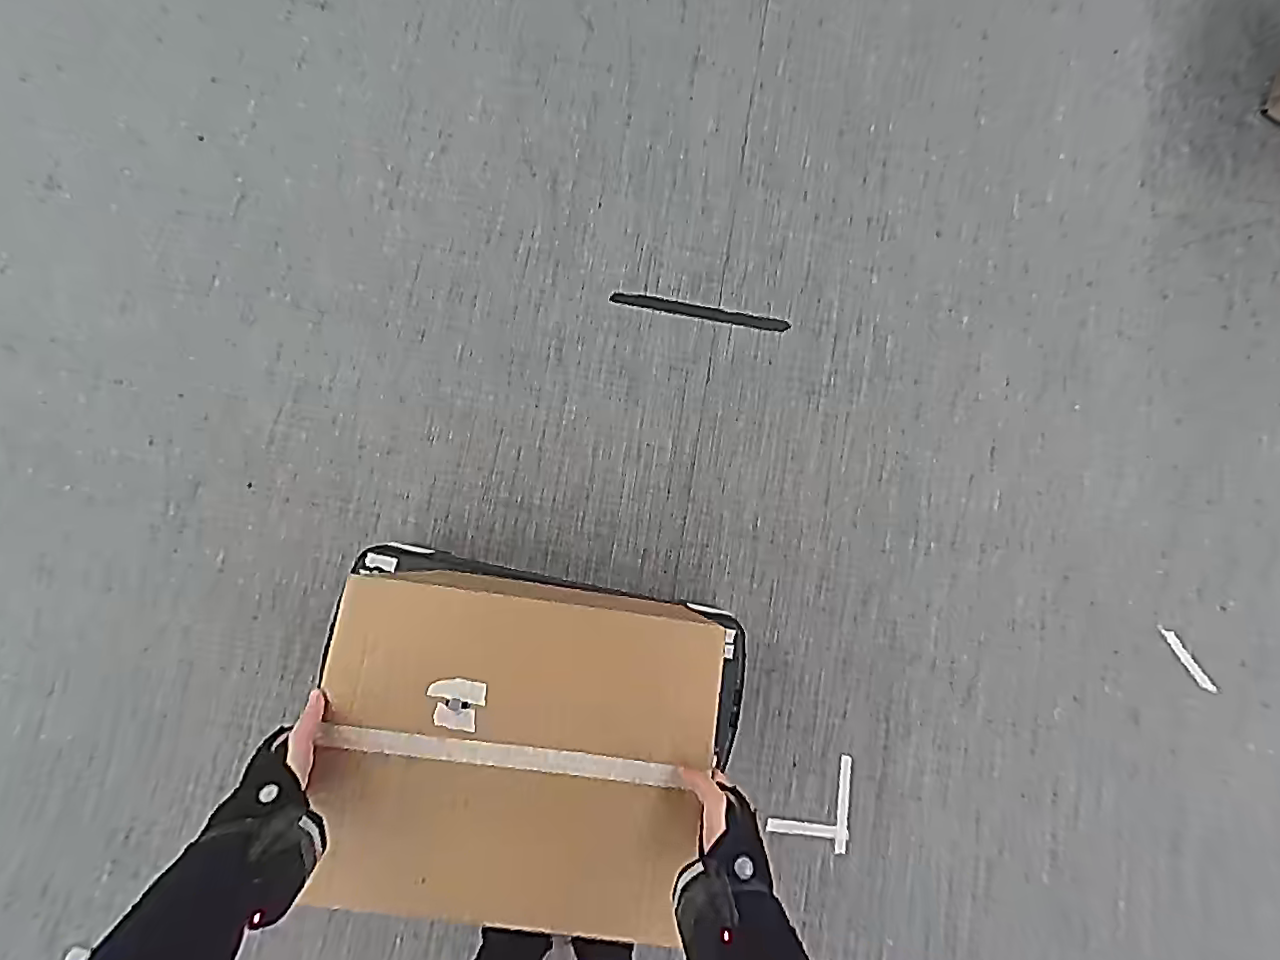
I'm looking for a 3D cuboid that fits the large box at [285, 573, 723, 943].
[{"bbox_3d":[-0.131,0.300,0.691,0.408,0.320,0.320,9,80,-2],"label":"large box"}]
